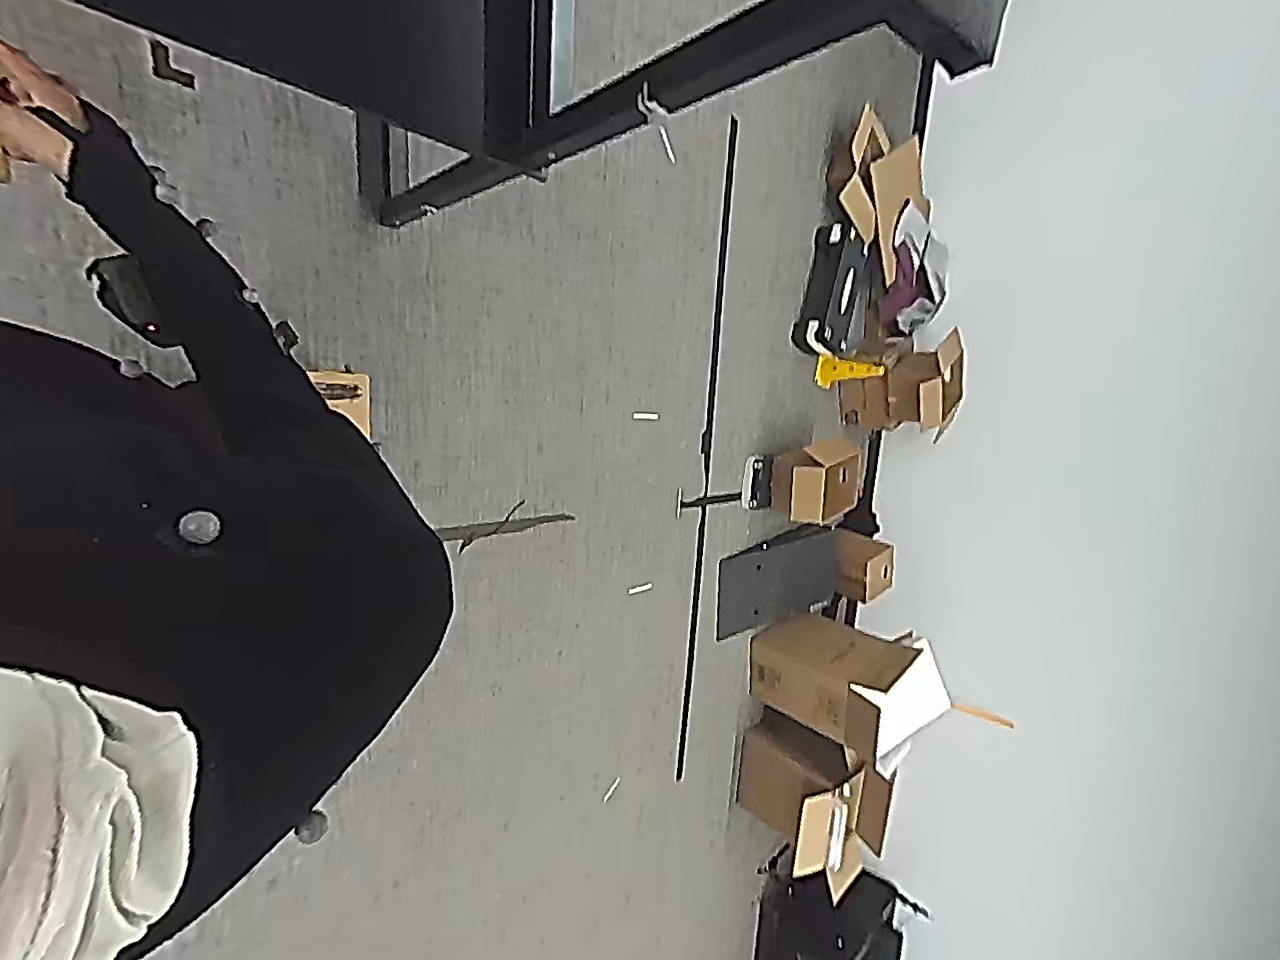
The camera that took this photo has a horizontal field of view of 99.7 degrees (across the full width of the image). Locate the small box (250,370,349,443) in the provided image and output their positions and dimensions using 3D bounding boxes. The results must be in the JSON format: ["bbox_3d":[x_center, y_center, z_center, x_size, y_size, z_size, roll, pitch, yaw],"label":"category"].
[{"bbox_3d":[-0.854,-0.188,1.357,0.179,0.176,0.168,-8,105,-43],"label":"small box"}]

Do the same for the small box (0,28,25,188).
[{"bbox_3d":[-0.627,-0.341,0.424,0.179,0.176,0.168,-10,116,-43],"label":"small box"}]
